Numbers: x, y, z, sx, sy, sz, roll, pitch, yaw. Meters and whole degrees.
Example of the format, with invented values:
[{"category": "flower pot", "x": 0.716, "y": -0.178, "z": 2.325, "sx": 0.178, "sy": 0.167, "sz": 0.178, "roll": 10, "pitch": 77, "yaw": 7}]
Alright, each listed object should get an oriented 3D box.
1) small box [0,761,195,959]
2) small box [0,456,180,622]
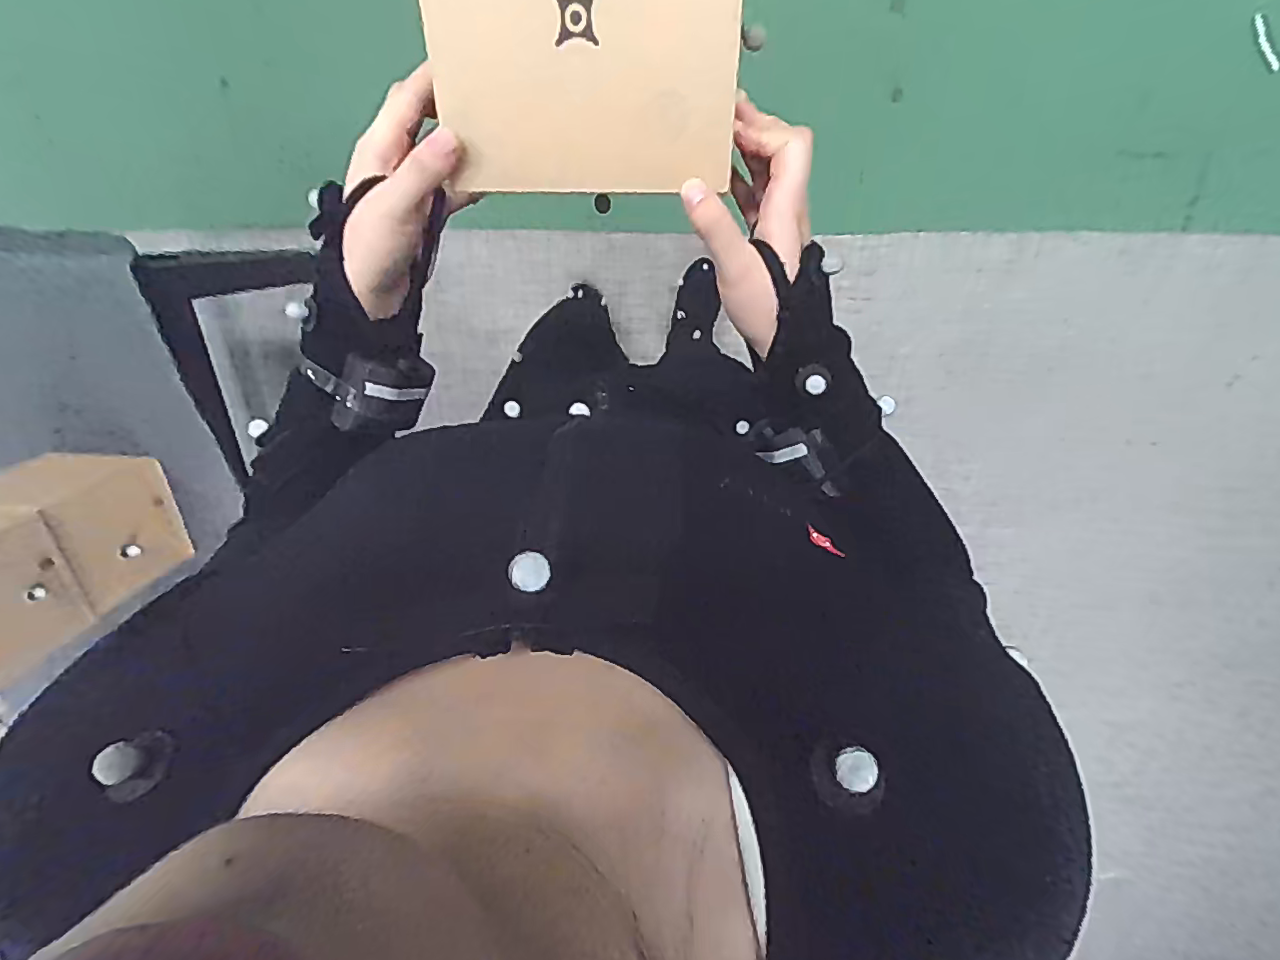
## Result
[{"category": "small box", "x": -0.808, "y": 0.549, "z": 0.790, "sx": 0.168, "sy": 0.176, "sz": 0.179, "roll": 4, "pitch": 114, "yaw": 2}, {"category": "small box", "x": -0.793, "y": 0.074, "z": 0.748, "sx": 0.179, "sy": 0.176, "sz": 0.168, "roll": 3, "pitch": 115, "yaw": 4}]
